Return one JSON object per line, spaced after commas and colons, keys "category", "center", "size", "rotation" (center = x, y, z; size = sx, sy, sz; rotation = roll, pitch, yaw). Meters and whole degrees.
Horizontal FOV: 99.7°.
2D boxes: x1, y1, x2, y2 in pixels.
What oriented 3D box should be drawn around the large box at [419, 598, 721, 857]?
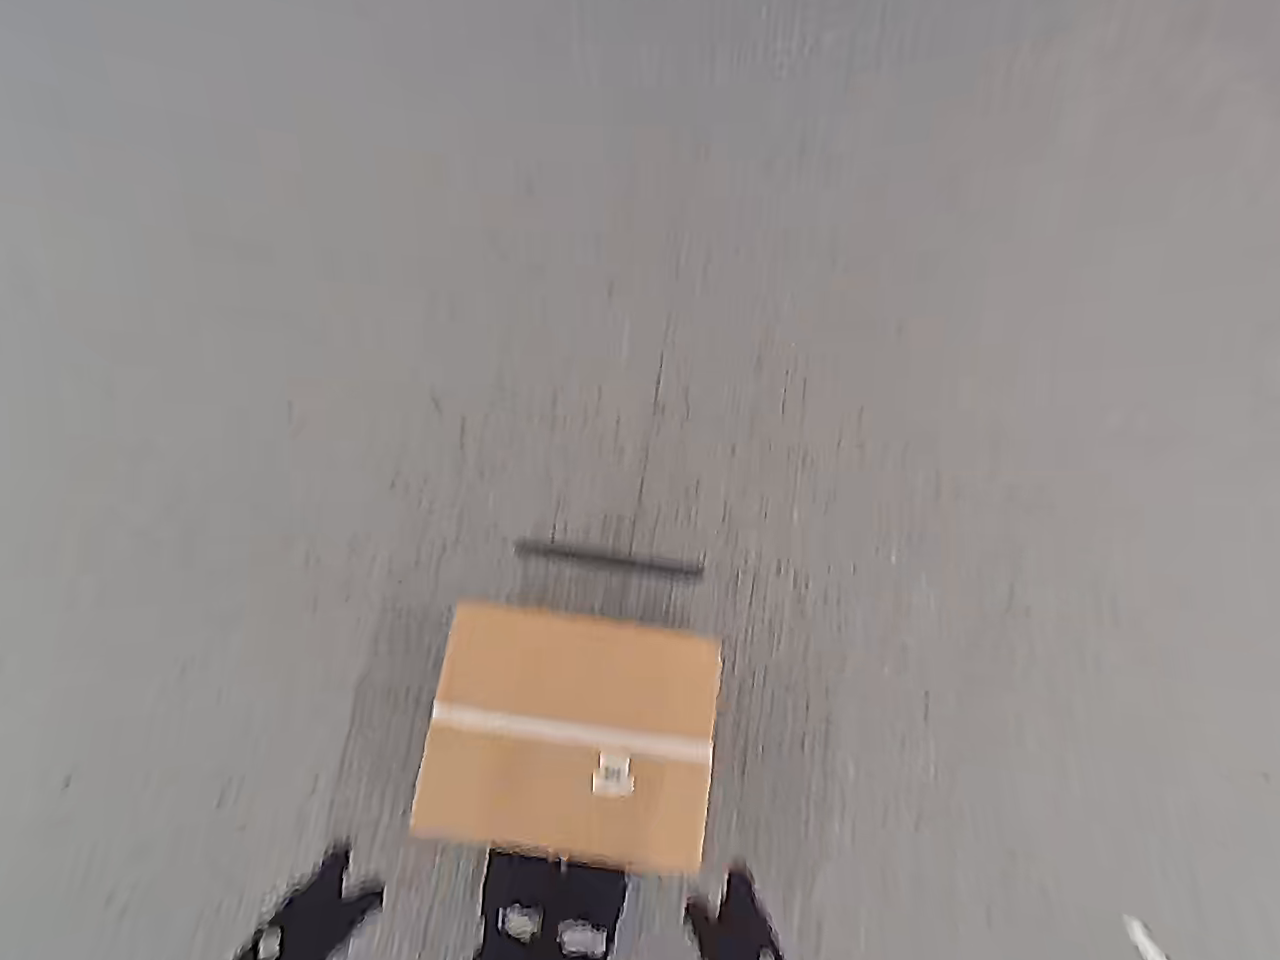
{"category": "large box", "center": [-0.101, 0.386, 0.927], "size": [0.408, 0.320, 0.320], "rotation": [9, 78, -1]}
